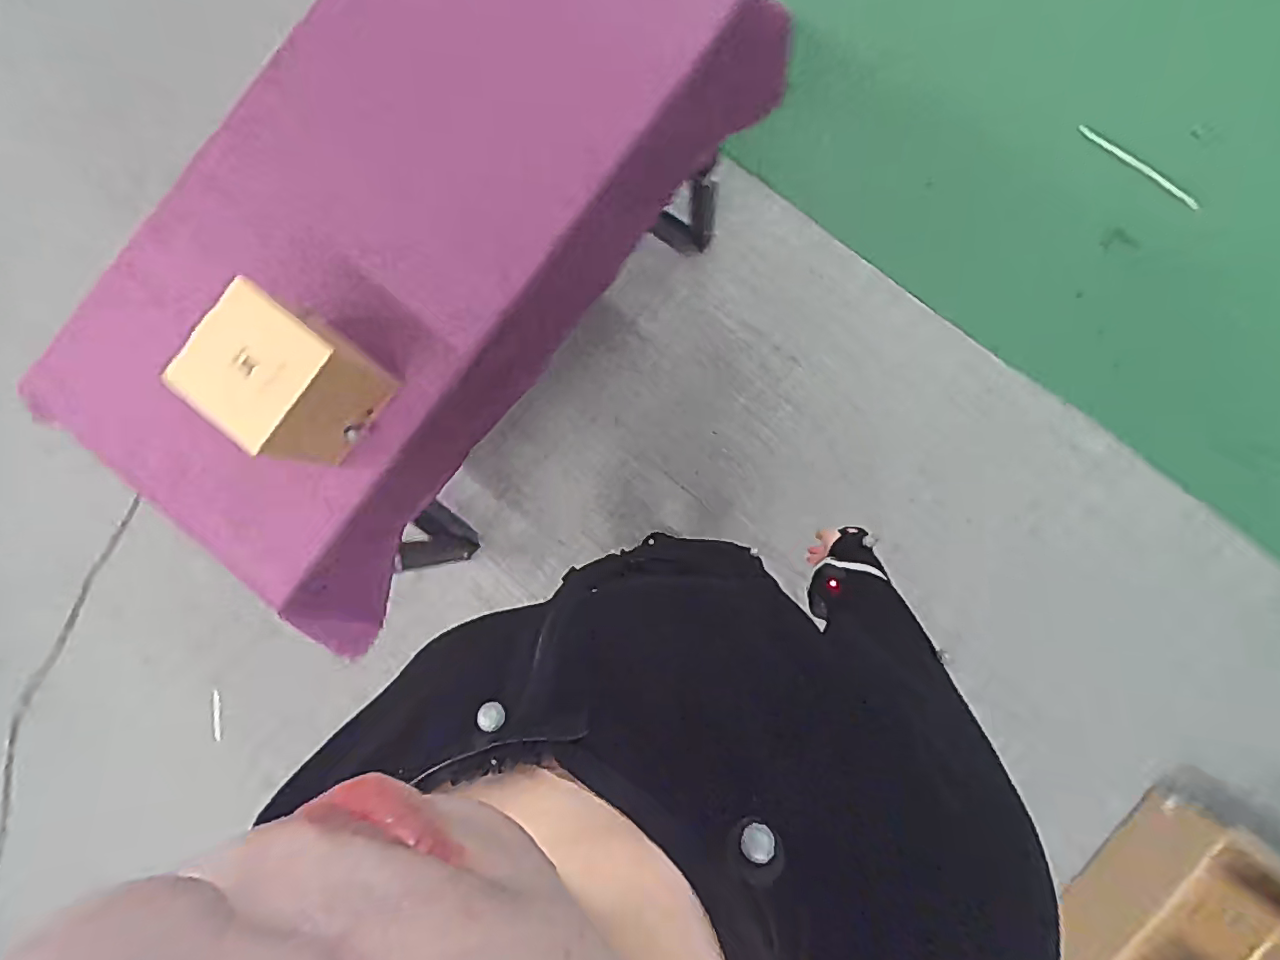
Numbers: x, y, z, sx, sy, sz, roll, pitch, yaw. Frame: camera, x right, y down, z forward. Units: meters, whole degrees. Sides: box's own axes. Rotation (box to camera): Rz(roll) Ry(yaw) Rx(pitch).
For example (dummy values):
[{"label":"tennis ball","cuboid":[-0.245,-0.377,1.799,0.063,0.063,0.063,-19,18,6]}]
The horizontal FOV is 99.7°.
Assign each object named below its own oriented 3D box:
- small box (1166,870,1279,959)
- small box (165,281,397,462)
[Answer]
[{"label":"small box","cuboid":[1.354,1.019,1.200,0.179,0.176,0.168,43,91,7]},{"label":"small box","cuboid":[-0.496,-0.140,0.772,0.179,0.176,0.168,37,90,6]}]
